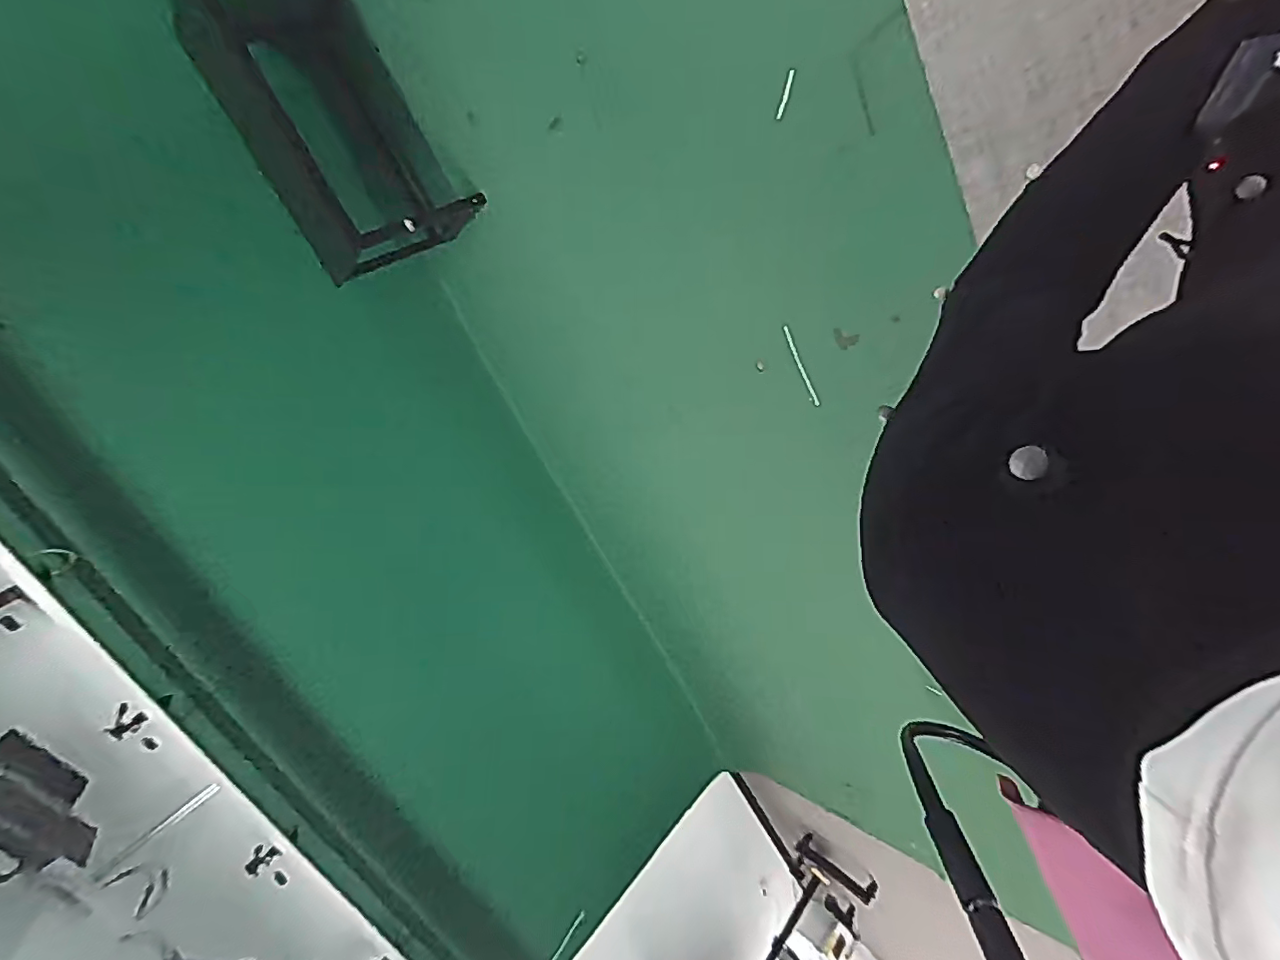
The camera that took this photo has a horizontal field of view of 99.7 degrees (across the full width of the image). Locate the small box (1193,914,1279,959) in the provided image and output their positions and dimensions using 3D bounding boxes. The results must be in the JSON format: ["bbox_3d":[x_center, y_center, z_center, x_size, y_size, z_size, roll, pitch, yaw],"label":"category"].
[{"bbox_3d":[1.193,1.005,1.045,0.179,0.176,0.168,8,130,51],"label":"small box"}]
